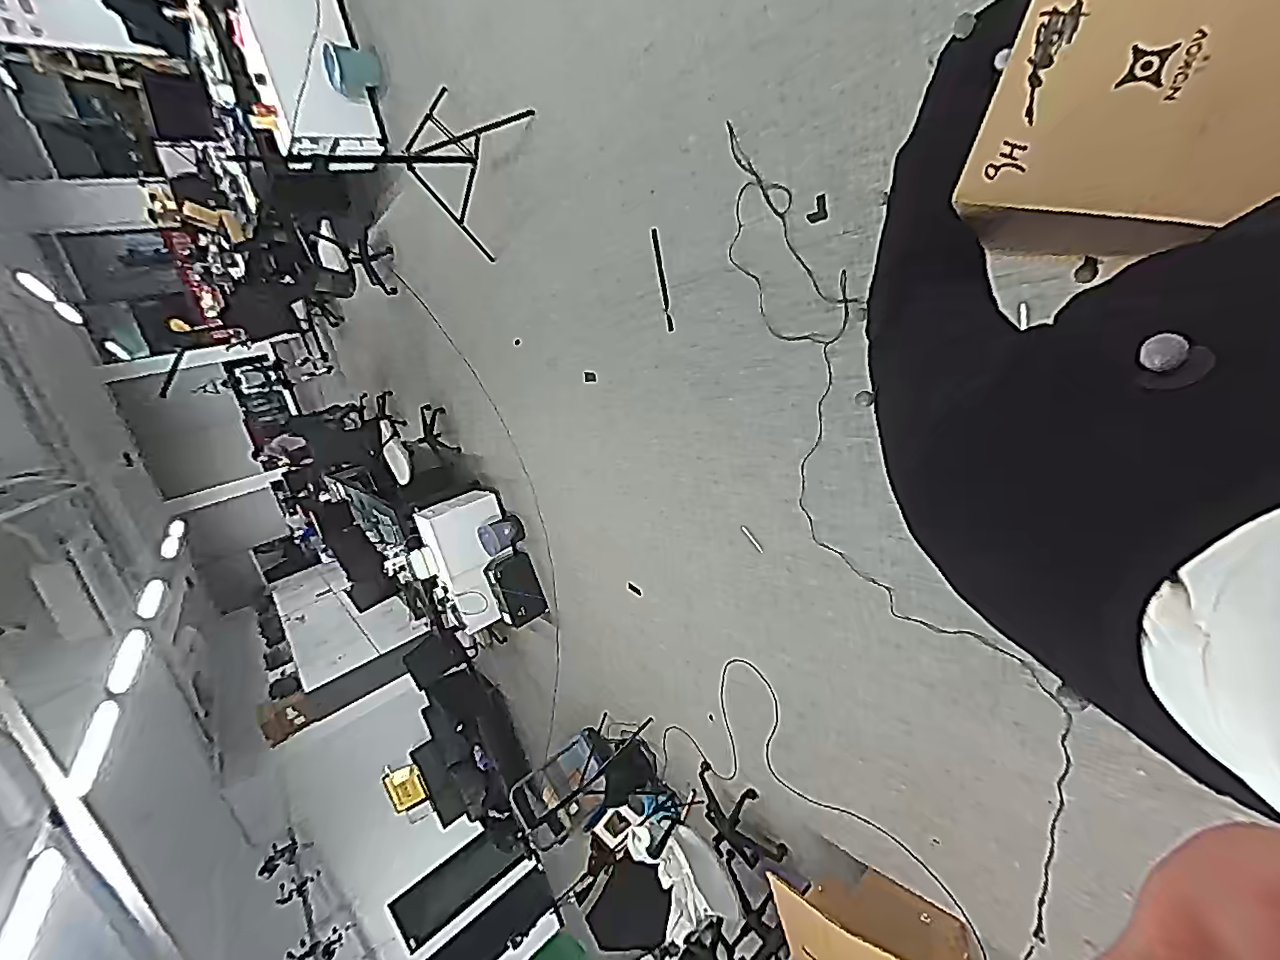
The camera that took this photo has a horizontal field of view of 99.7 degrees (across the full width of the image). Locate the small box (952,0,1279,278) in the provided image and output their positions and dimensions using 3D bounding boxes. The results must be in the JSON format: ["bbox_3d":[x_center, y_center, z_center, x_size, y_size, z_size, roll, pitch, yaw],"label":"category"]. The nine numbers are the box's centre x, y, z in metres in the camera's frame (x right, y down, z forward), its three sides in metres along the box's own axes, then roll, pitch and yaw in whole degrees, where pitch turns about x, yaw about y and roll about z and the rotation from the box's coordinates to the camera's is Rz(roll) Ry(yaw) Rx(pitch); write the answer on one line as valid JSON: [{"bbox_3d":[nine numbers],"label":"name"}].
[{"bbox_3d":[0.363,-0.254,0.387,0.179,0.176,0.168,28,112,34],"label":"small box"}]
